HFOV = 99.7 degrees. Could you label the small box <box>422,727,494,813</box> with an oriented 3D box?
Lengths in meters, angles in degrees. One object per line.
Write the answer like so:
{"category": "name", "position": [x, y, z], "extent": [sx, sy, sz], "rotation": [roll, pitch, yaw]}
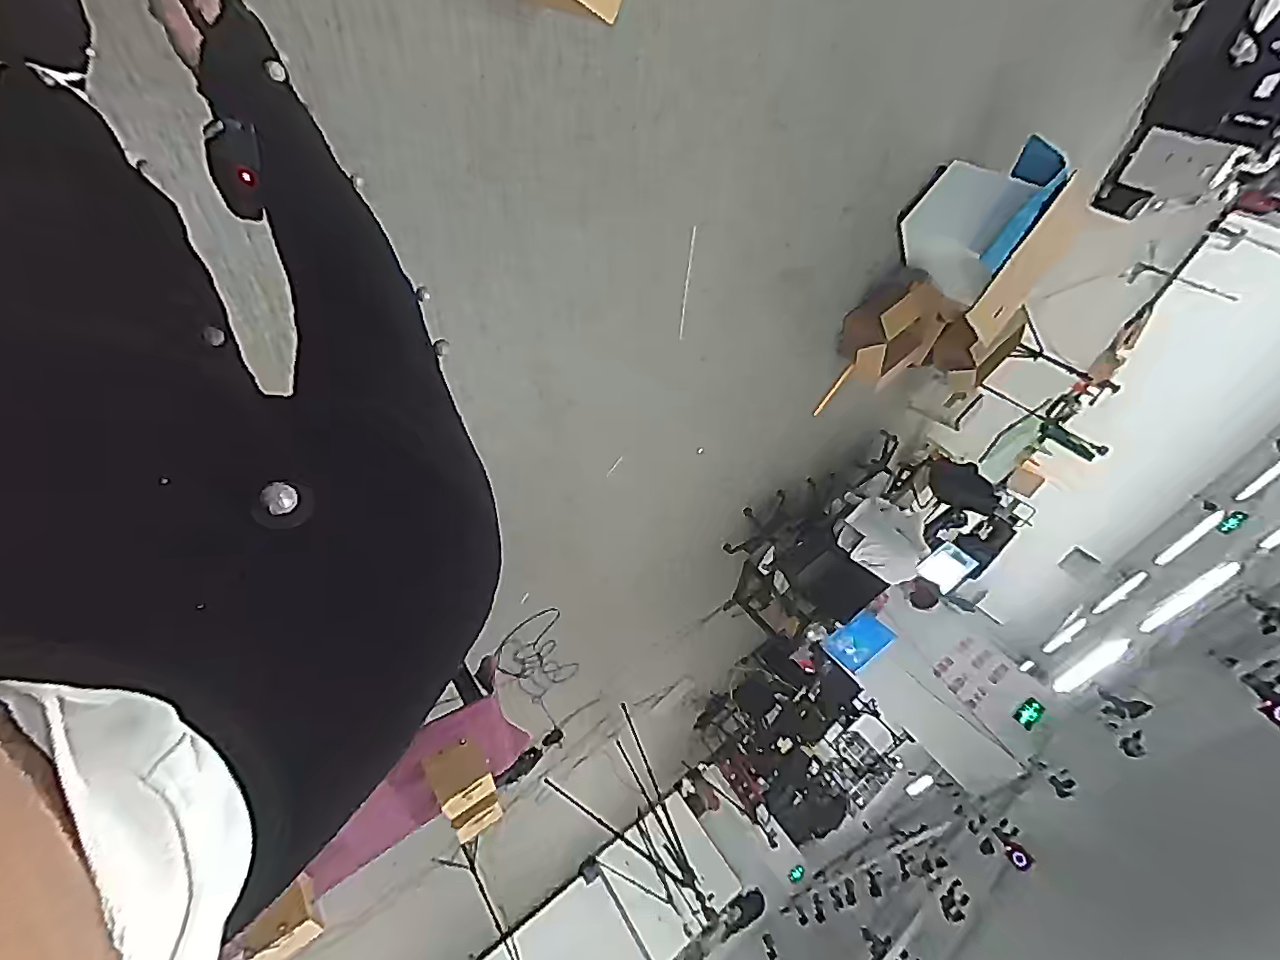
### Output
{"category": "small box", "position": [-0.602, 0.952, 1.789], "extent": [0.168, 0.176, 0.179], "rotation": [-25, 144, -28]}

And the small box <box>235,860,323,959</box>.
{"category": "small box", "position": [-1.088, 1.297, 1.634], "extent": [0.168, 0.176, 0.179], "rotation": [-23, 143, -32]}

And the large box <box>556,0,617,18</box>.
{"category": "large box", "position": [-0.227, -1.176, 1.018], "extent": [0.408, 0.320, 0.320], "rotation": [-5, 130, -45]}
